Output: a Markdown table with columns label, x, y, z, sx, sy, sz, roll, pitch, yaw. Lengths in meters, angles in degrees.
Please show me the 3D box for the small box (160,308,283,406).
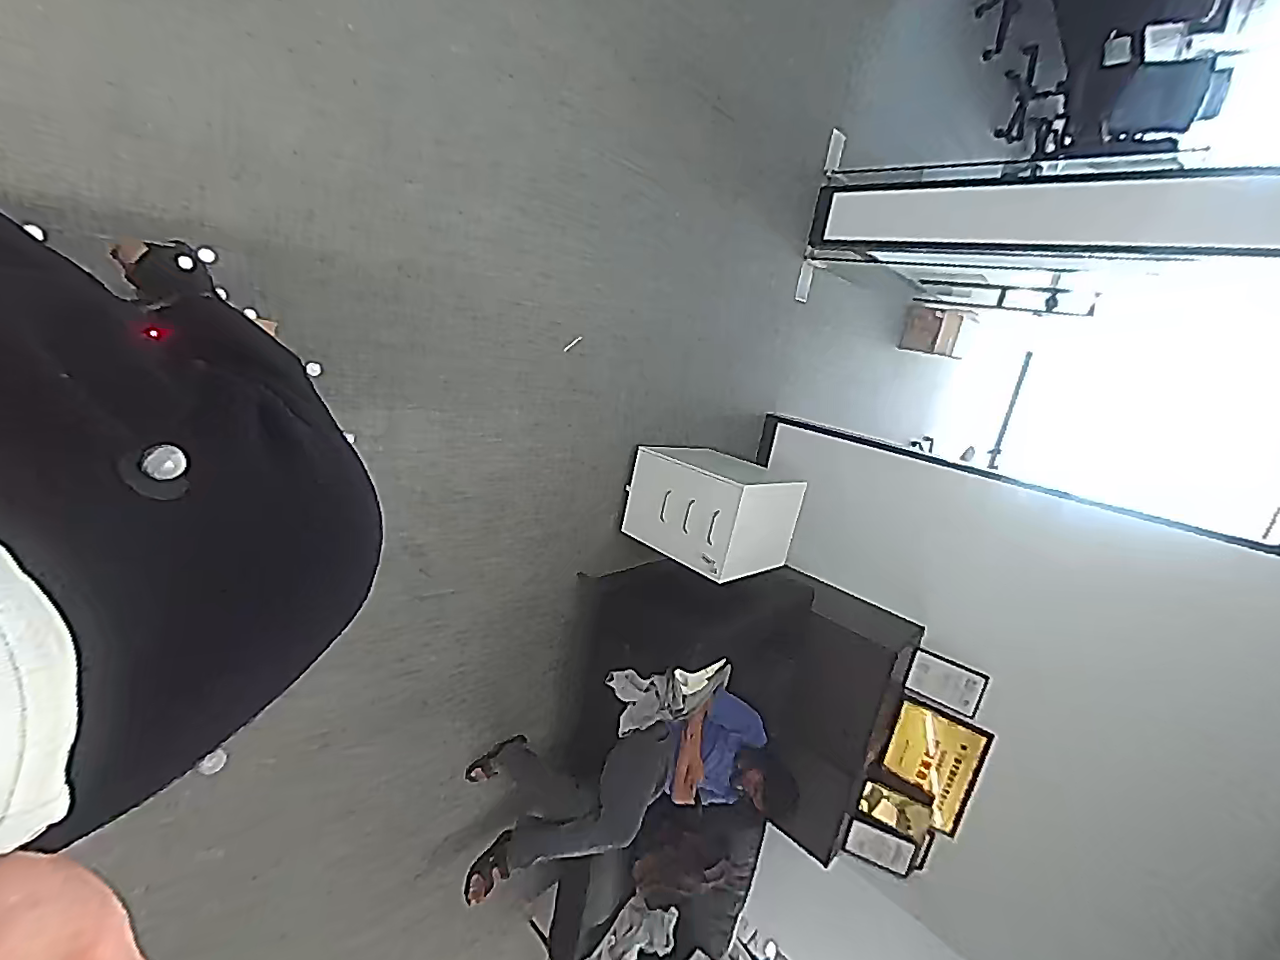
| label | x | y | z | sx | sy | sz | roll | pitch | yaw |
| --- | --- | --- | --- | --- | --- | --- | --- | --- | --- |
| small box | -0.918 | -0.271 | 1.184 | 0.179 | 0.176 | 0.168 | 3 | 105 | -49 |
